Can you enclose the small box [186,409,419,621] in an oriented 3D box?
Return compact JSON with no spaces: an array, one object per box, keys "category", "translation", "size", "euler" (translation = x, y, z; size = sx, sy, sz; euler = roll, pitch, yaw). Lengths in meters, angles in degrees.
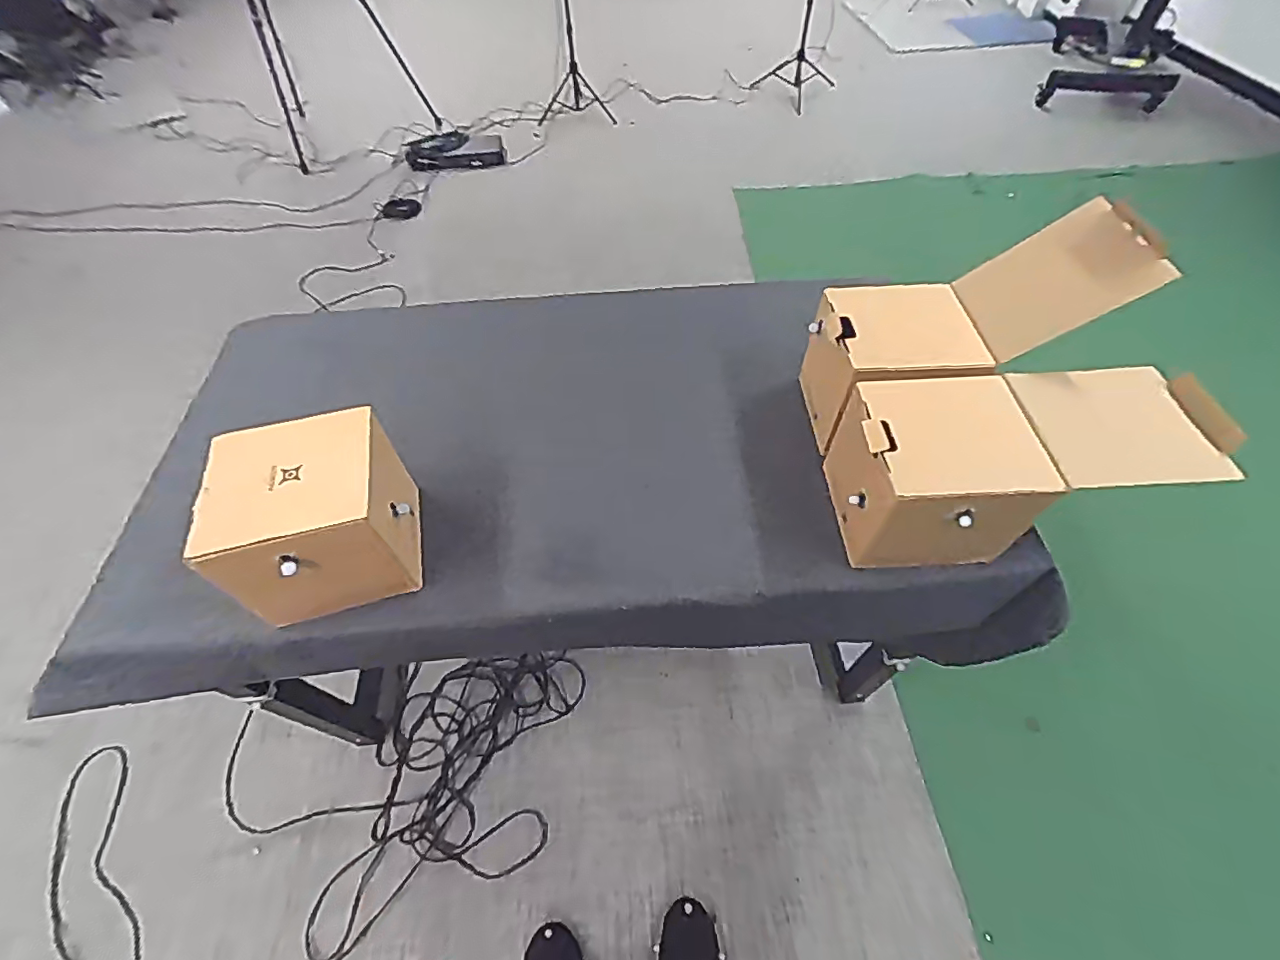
[{"category":"small box","translation":[-0.374,0.045,0.642],"size":[0.179,0.176,0.168],"euler":[-14,54,-8]}]
